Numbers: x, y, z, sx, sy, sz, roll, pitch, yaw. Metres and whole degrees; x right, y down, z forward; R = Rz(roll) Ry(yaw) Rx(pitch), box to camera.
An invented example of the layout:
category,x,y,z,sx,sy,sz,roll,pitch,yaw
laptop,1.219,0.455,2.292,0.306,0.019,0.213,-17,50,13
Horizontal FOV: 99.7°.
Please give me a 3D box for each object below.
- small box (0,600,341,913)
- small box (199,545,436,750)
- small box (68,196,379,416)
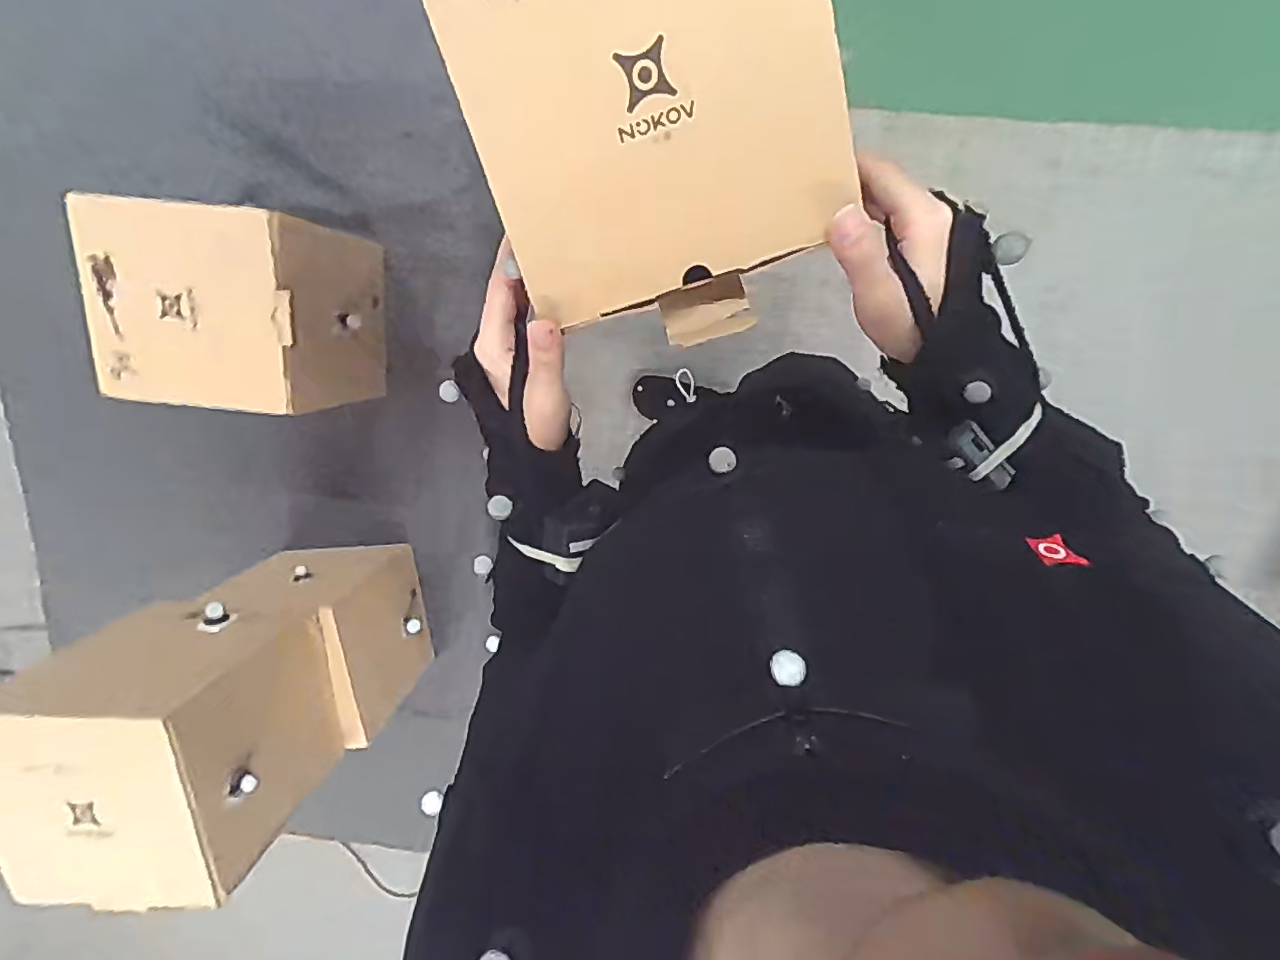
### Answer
category,x,y,z,sx,sy,sz,roll,pitch,yaw
small box,-0.388,0.221,0.465,0.168,0.176,0.179,-1,104,2
small box,-0.364,0.183,0.622,0.179,0.176,0.168,-5,105,4
small box,-0.375,-0.164,0.530,0.179,0.176,0.168,5,106,1
